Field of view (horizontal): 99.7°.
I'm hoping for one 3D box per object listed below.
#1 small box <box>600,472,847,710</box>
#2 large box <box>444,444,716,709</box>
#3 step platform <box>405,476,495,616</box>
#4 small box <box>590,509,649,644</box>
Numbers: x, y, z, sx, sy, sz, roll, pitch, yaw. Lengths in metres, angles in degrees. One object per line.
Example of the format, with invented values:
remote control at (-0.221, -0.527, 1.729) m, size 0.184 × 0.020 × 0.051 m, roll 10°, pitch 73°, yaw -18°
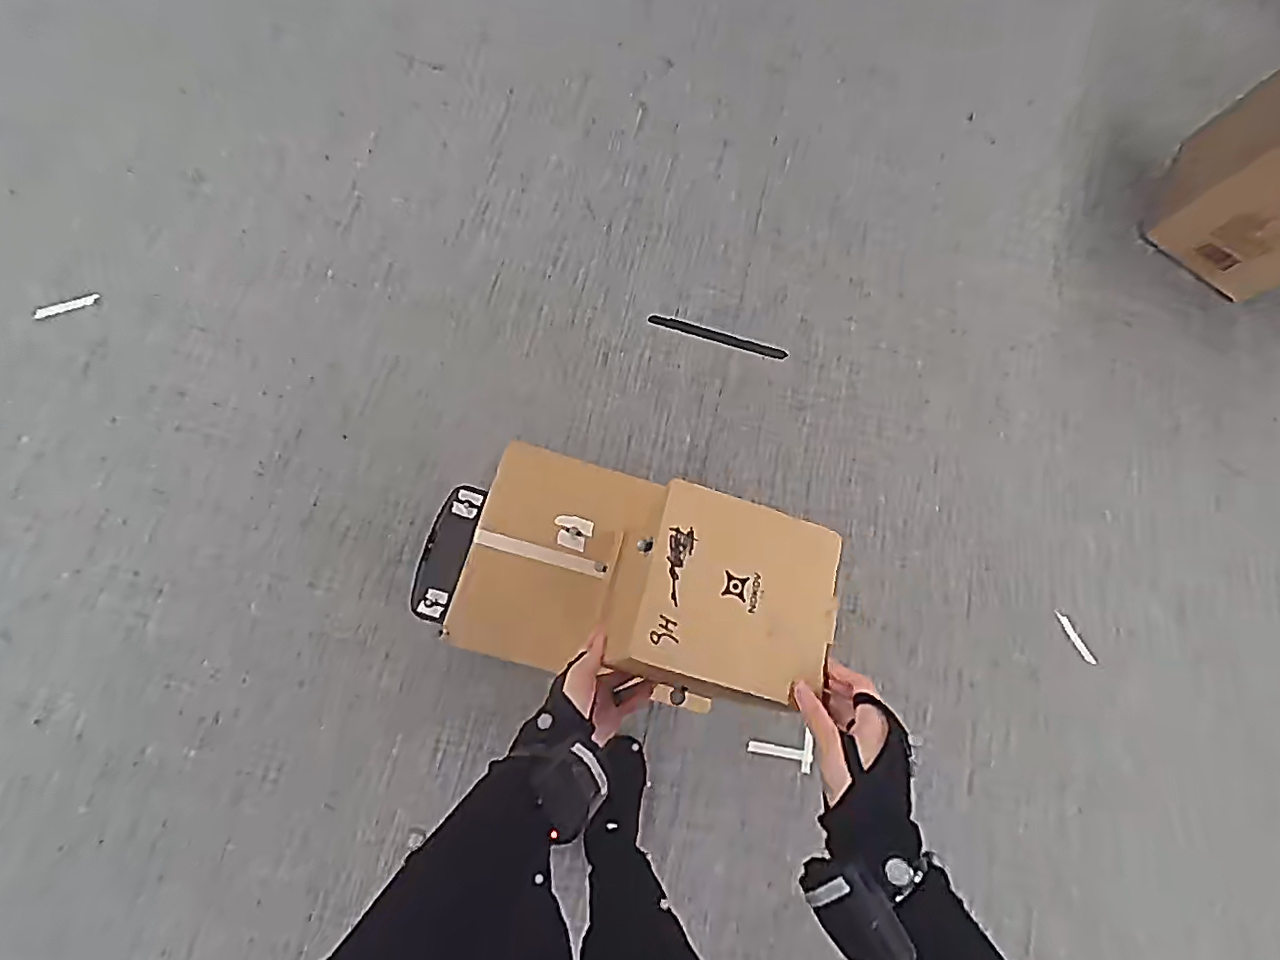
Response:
small box at (0.075, 0.117, 0.539) m, size 0.179 × 0.176 × 0.168 m, roll 19°, pitch 66°, yaw -7°
large box at (-0.065, 0.169, 0.946) m, size 0.408 × 0.320 × 0.320 m, roll 16°, pitch 75°, yaw -3°
step platform at (-0.132, 0.238, 1.167) m, size 0.684 × 0.204 × 0.286 m, roll 21°, pitch 75°, yaw -2°
small box at (0.042, 0.150, 0.711) m, size 0.179 × 0.176 × 0.168 m, roll 17°, pitch 76°, yaw -3°
